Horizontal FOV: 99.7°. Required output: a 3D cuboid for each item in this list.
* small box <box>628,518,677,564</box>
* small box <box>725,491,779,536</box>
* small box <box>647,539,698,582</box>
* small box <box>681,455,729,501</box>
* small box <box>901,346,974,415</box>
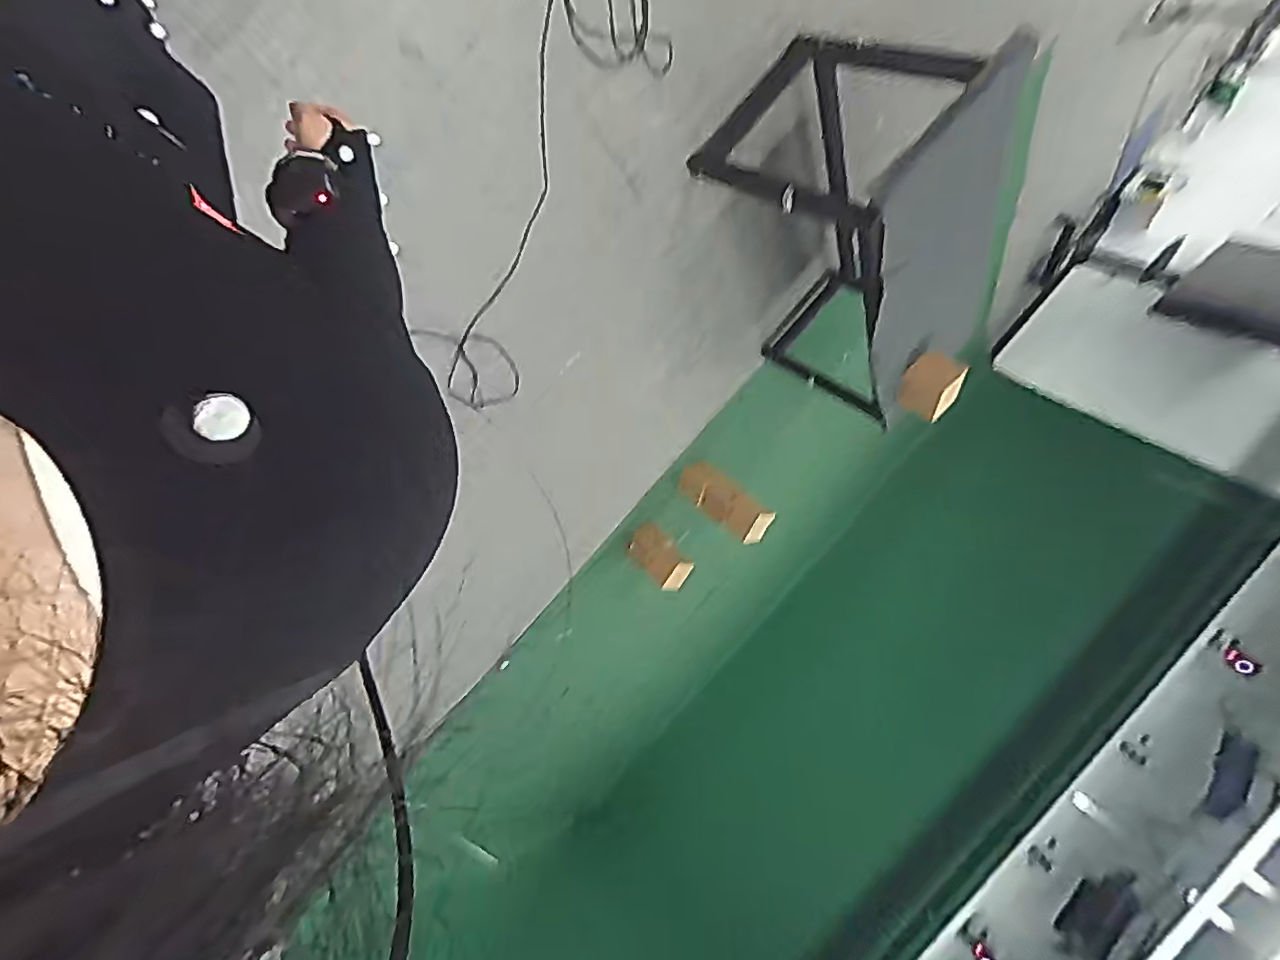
[{"bbox_3d":[0.064,0.328,2.945,0.179,0.176,0.168,-12,133,-41],"label":"small box"},{"bbox_3d":[0.568,0.169,2.762,0.179,0.176,0.168,1,122,-49],"label":"small box"},{"bbox_3d":[0.167,0.424,2.863,0.179,0.176,0.168,11,116,-54],"label":"small box"},{"bbox_3d":[0.349,-0.014,2.927,0.179,0.176,0.168,-19,137,-37],"label":"small box"},{"bbox_3d":[1.162,-0.393,2.126,0.179,0.176,0.168,-39,146,-18],"label":"small box"}]
